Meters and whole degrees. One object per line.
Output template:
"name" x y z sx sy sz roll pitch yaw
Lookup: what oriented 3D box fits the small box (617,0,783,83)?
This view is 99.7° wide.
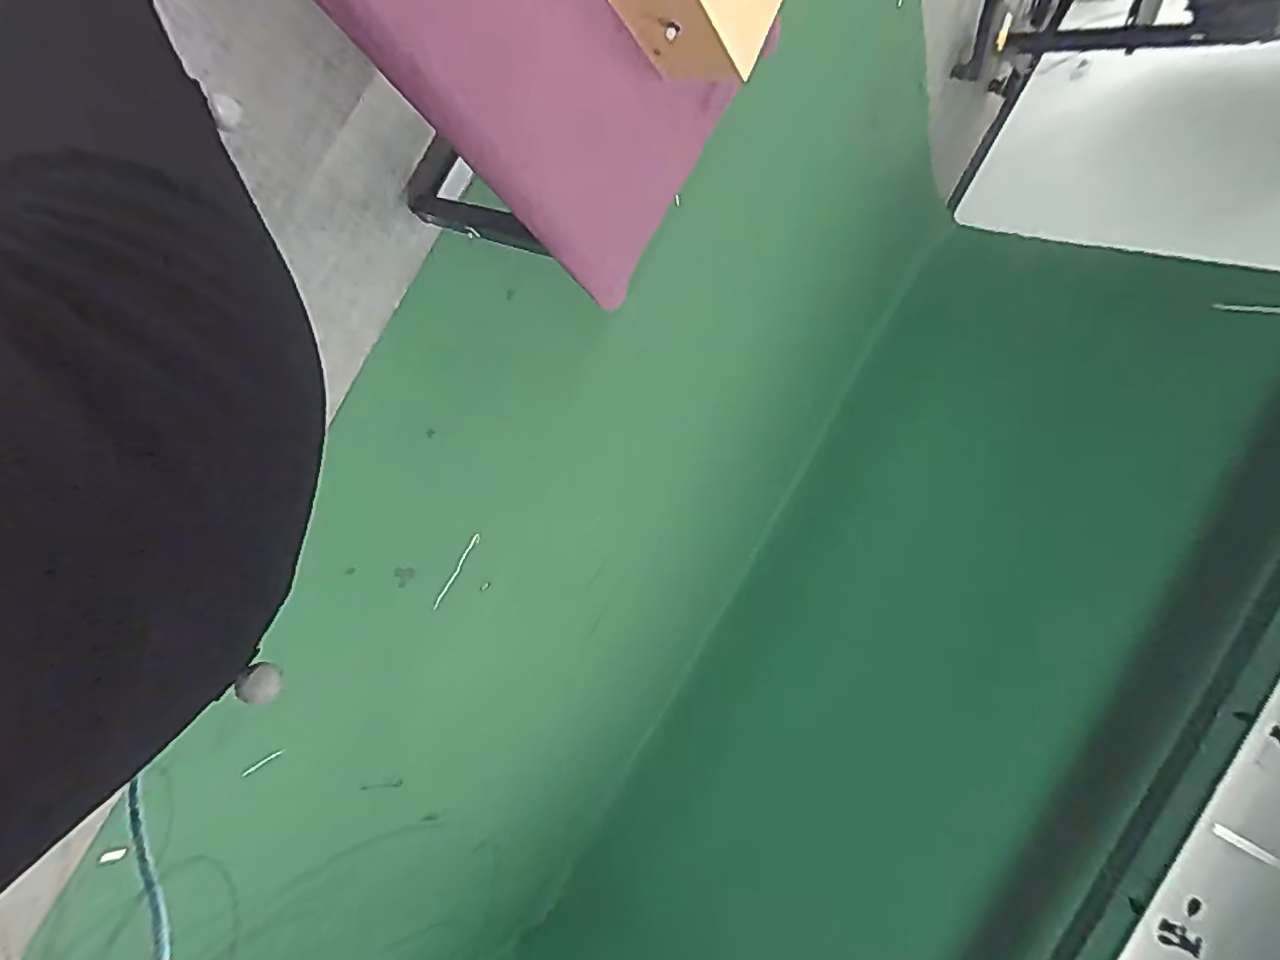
"small box" 0.088 -0.713 0.779 0.168 0.176 0.179 15 102 -55
